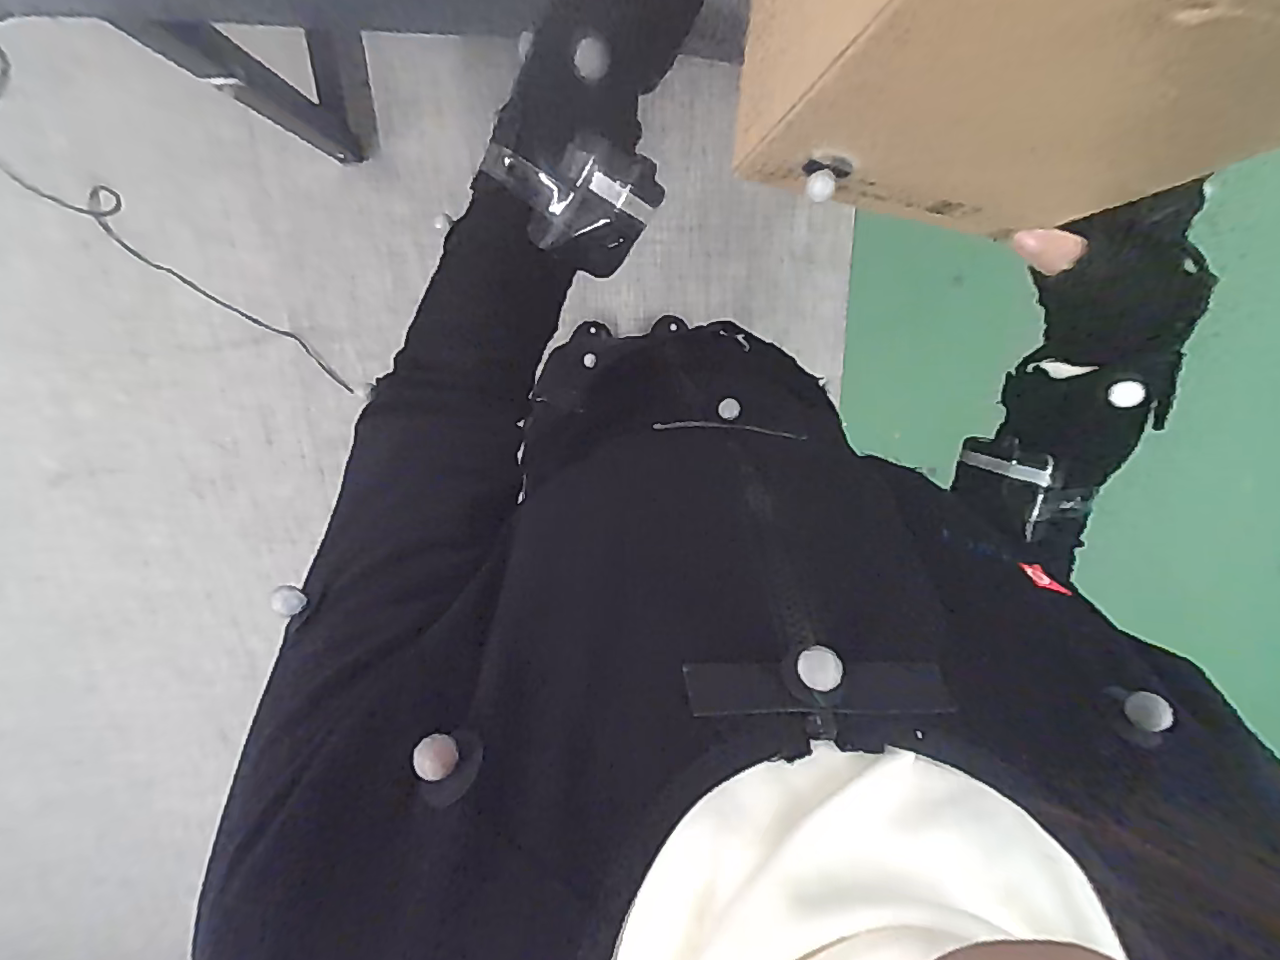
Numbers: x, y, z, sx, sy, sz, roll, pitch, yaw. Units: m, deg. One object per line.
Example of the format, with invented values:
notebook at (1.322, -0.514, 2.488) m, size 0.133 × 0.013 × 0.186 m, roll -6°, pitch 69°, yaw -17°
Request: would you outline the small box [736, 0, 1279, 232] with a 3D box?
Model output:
small box at (0.147, -0.215, 0.200) m, size 0.168 × 0.176 × 0.179 m, roll 5°, pitch 96°, yaw -13°
